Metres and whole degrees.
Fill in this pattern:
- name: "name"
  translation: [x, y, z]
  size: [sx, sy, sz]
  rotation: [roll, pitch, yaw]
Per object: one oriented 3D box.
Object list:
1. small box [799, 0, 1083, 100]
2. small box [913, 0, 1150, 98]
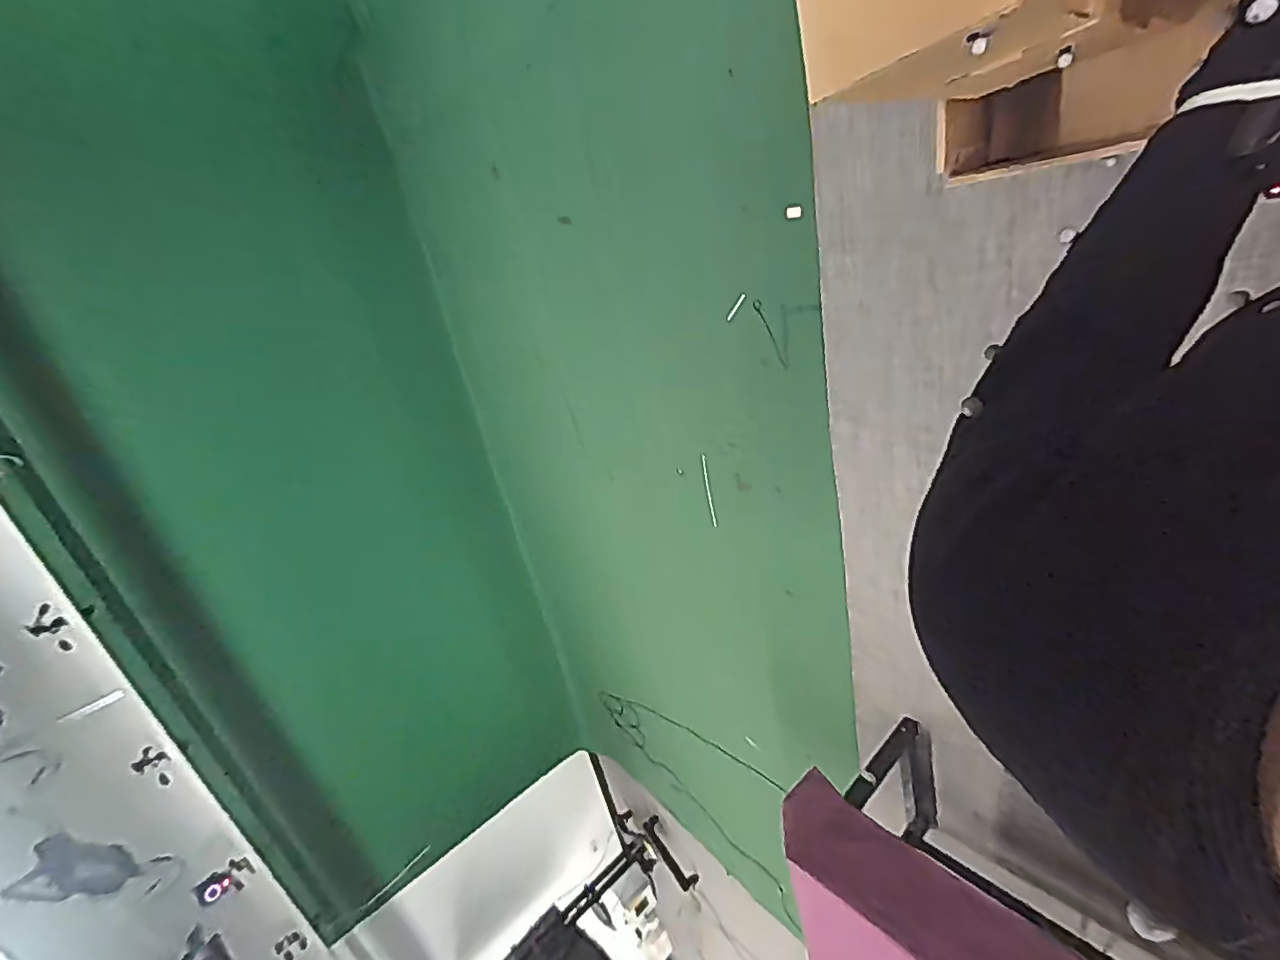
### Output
- name: "small box"
  translation: [0.257, -0.454, 0.466]
  size: [0.179, 0.176, 0.168]
  rotation: [9, 121, 50]
- name: "small box"
  translation: [0.388, -0.516, 0.540]
  size: [0.168, 0.176, 0.179]
  rotation: [12, 123, 51]
